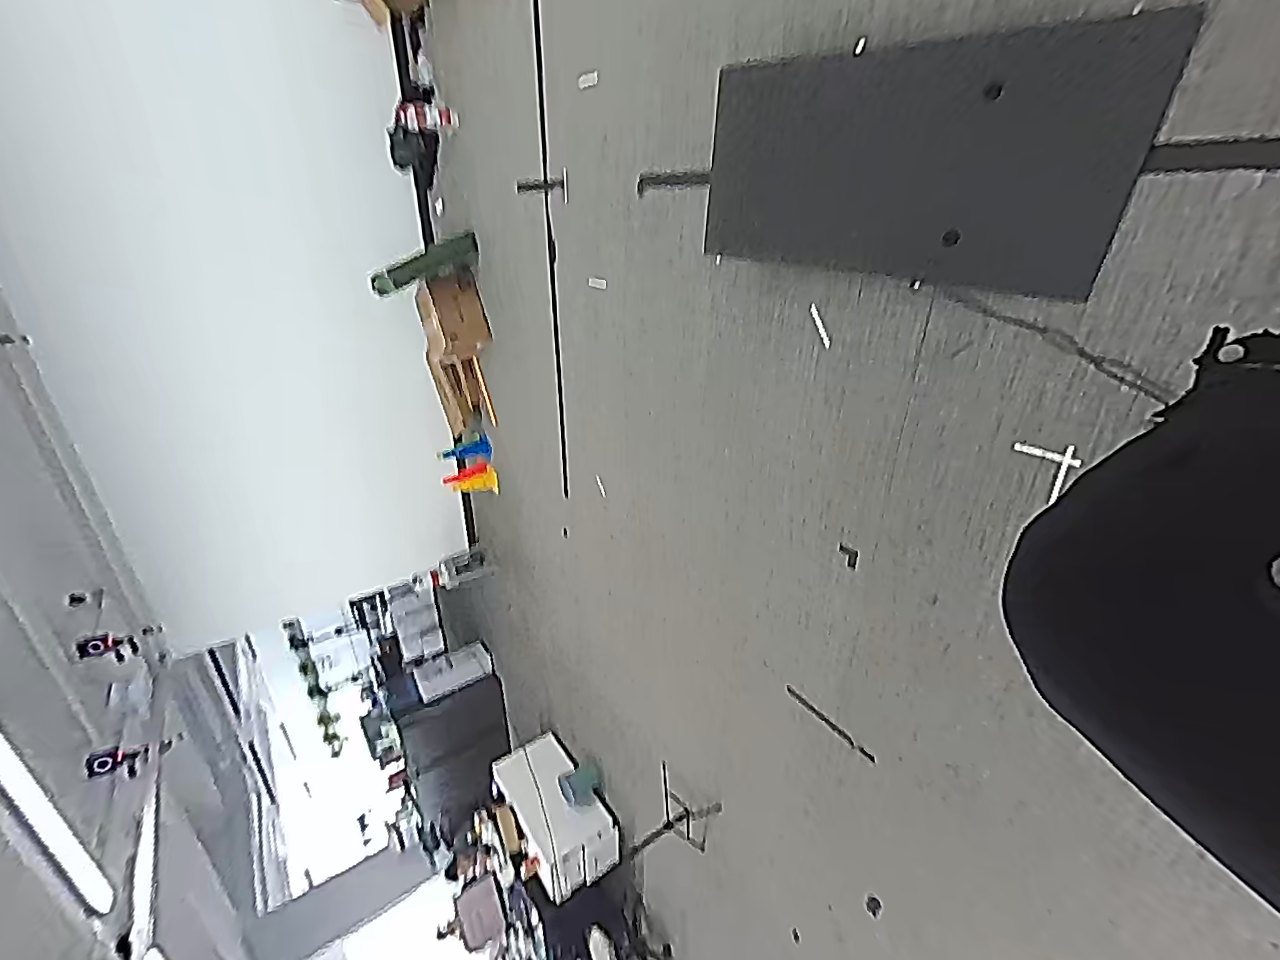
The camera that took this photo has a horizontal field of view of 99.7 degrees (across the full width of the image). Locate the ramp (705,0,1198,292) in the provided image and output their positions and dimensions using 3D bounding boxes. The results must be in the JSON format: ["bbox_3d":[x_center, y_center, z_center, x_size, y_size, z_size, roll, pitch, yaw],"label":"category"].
[{"bbox_3d":[0.582,-0.778,1.318,0.991,0.206,0.509,31,129,45],"label":"ramp"}]
